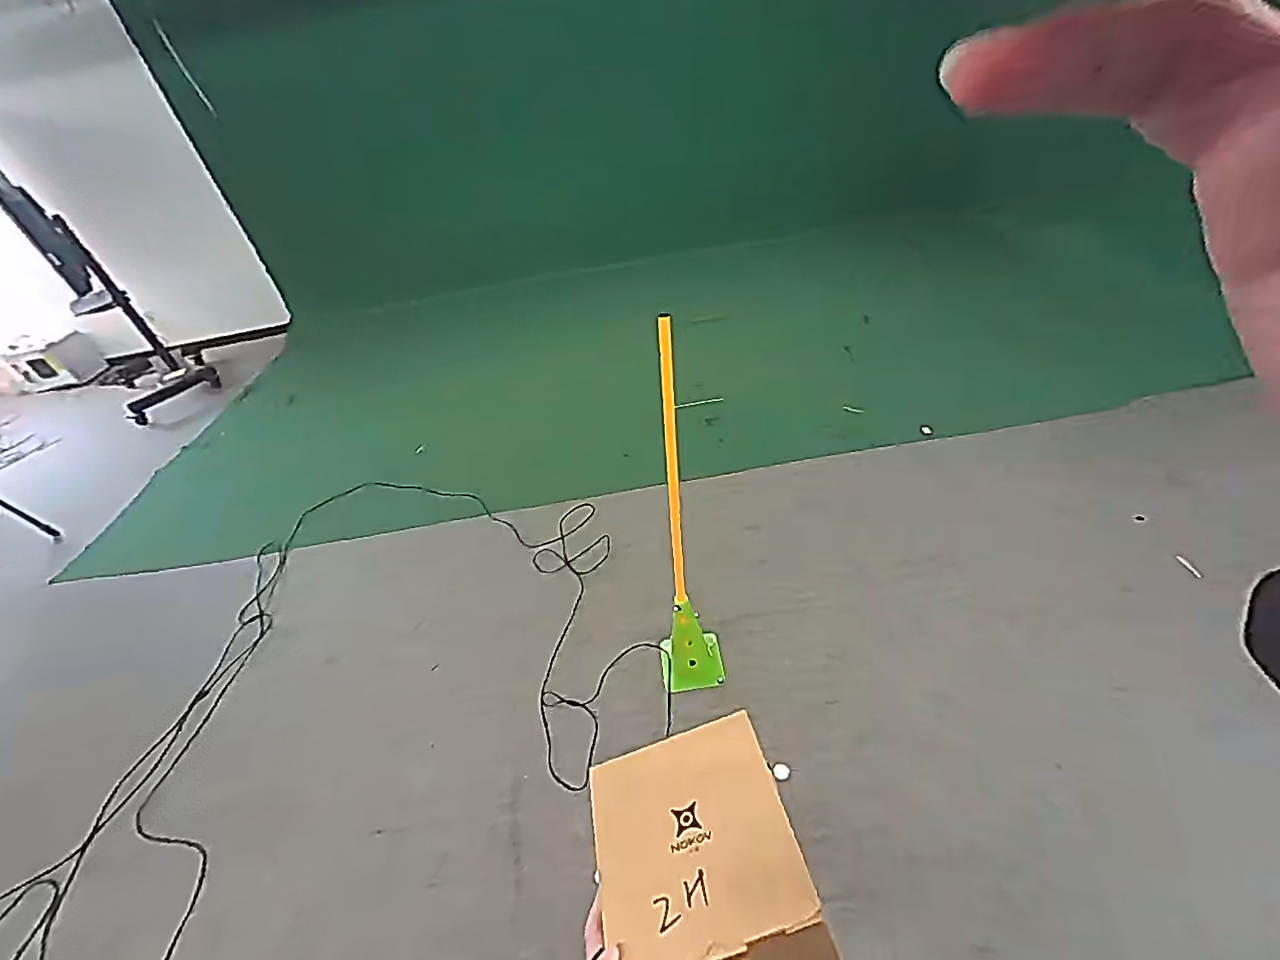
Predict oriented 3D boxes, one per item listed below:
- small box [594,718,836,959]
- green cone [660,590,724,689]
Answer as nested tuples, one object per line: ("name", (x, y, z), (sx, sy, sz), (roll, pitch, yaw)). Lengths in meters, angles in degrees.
("small box", (0.066, 0.366, 0.500), (0.168, 0.176, 0.179), (-21, 31, 2))
("green cone", (0.145, 0.477, 1.733), (0.202, 0.368, 0.200), (-10, 39, 3))
